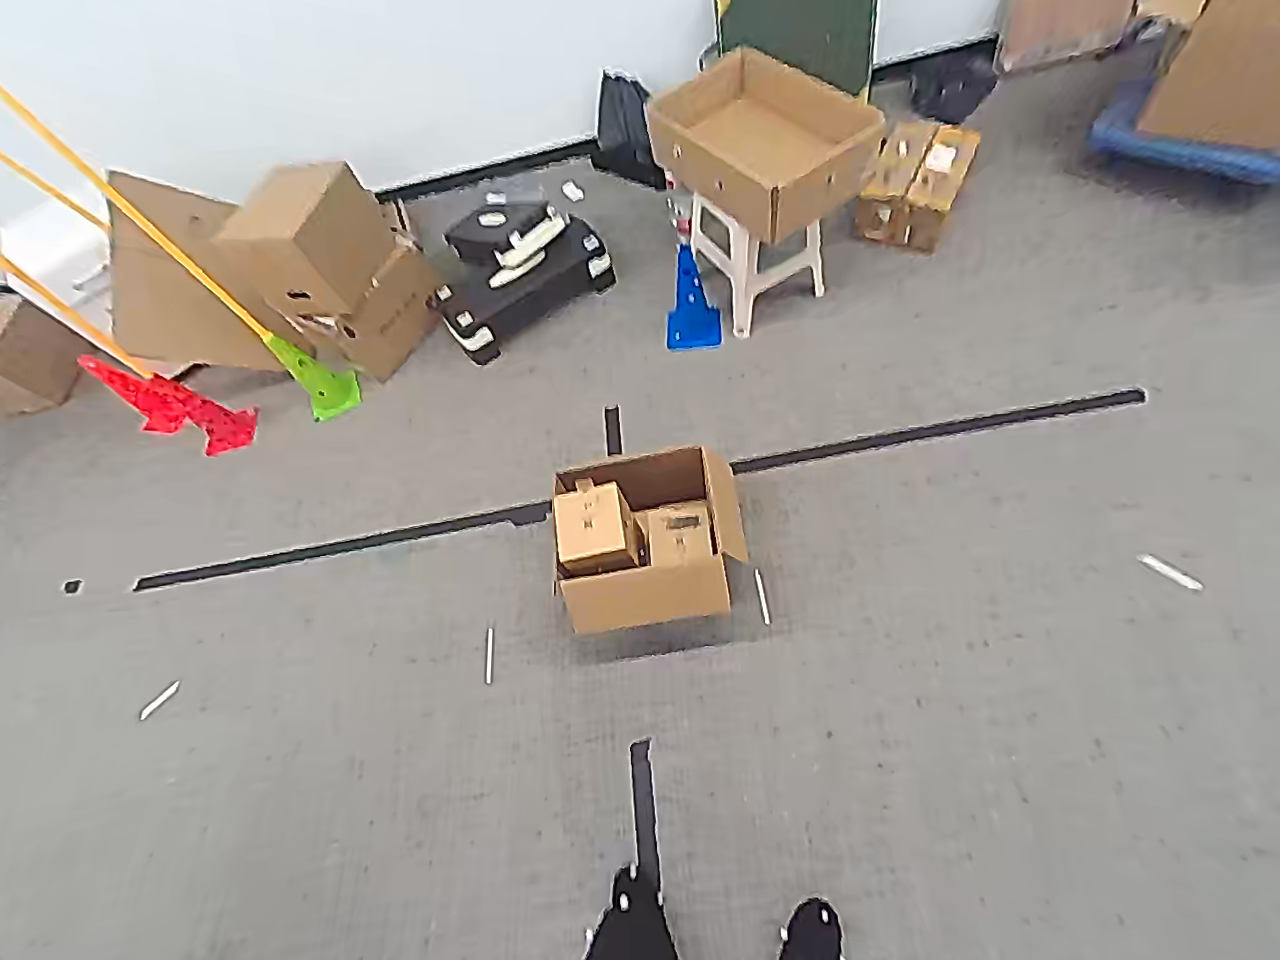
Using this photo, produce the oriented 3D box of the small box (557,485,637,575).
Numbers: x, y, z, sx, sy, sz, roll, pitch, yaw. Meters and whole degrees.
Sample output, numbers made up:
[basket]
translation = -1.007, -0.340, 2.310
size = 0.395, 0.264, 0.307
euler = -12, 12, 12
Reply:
[small box]
translation = -0.108, 0.136, 1.393
size = 0.168, 0.176, 0.179
euler = -11, 61, 5
